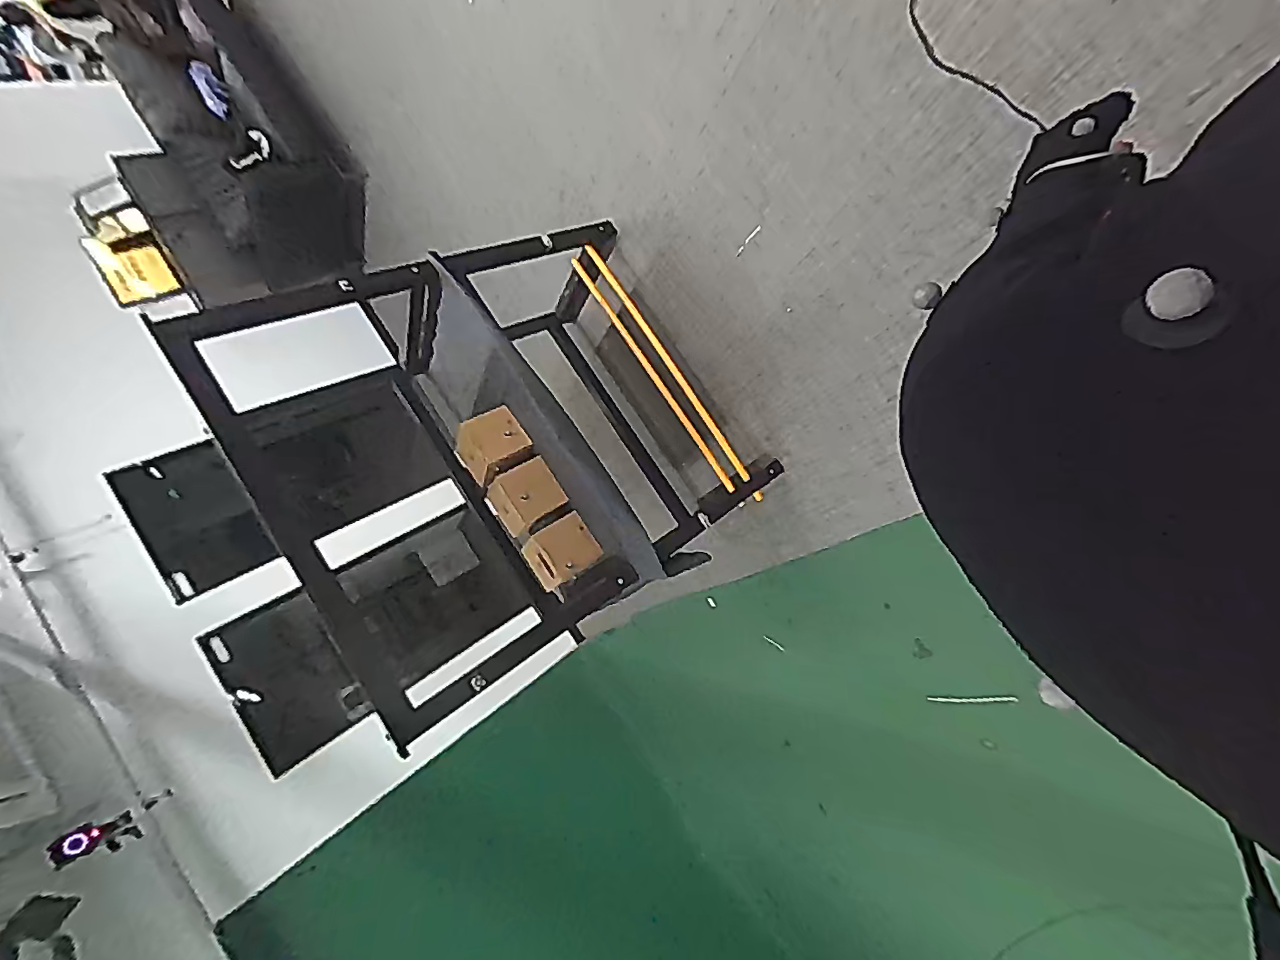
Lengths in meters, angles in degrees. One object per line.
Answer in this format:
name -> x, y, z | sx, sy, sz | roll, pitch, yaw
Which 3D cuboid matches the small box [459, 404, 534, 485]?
small box -> -0.468, -0.117, 1.764 | 0.168, 0.176, 0.179 | 52, 146, 10
